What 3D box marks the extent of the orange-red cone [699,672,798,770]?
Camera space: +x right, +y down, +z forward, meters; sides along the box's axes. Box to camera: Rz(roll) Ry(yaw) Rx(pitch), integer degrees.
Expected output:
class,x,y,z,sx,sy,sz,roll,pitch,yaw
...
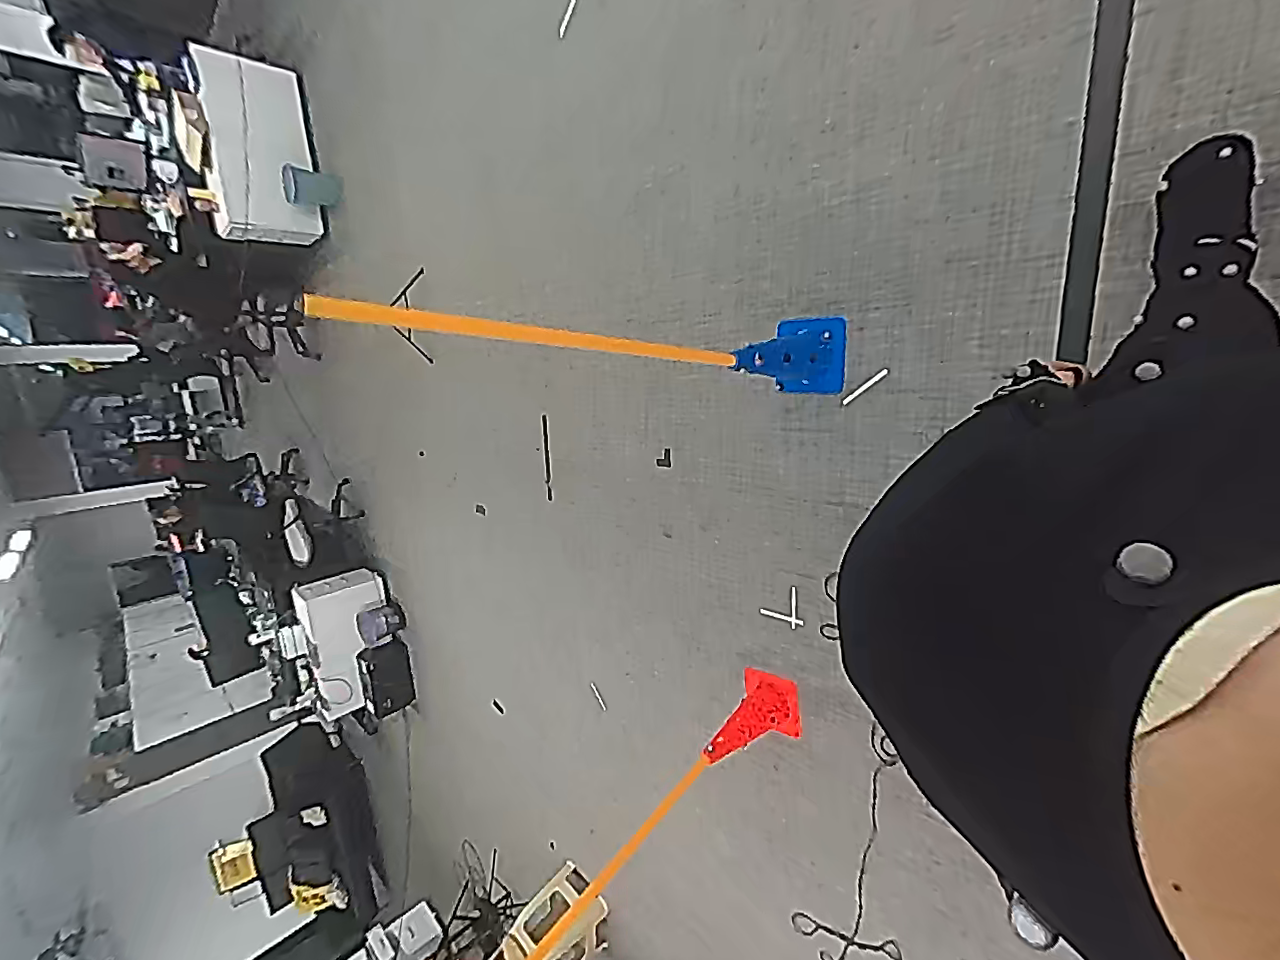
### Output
class,x,y,z,sx,sy,sz,roll,pitch,yaw
orange-red cone,0.307,0.775,1.660,0.199,0.360,0.198,2,103,45

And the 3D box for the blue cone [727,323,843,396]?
class,x,y,z,sx,sy,sz,roll,pitch,yaw
blue cone,0.343,-0.292,1.353,0.193,0.380,0.192,13,111,44
